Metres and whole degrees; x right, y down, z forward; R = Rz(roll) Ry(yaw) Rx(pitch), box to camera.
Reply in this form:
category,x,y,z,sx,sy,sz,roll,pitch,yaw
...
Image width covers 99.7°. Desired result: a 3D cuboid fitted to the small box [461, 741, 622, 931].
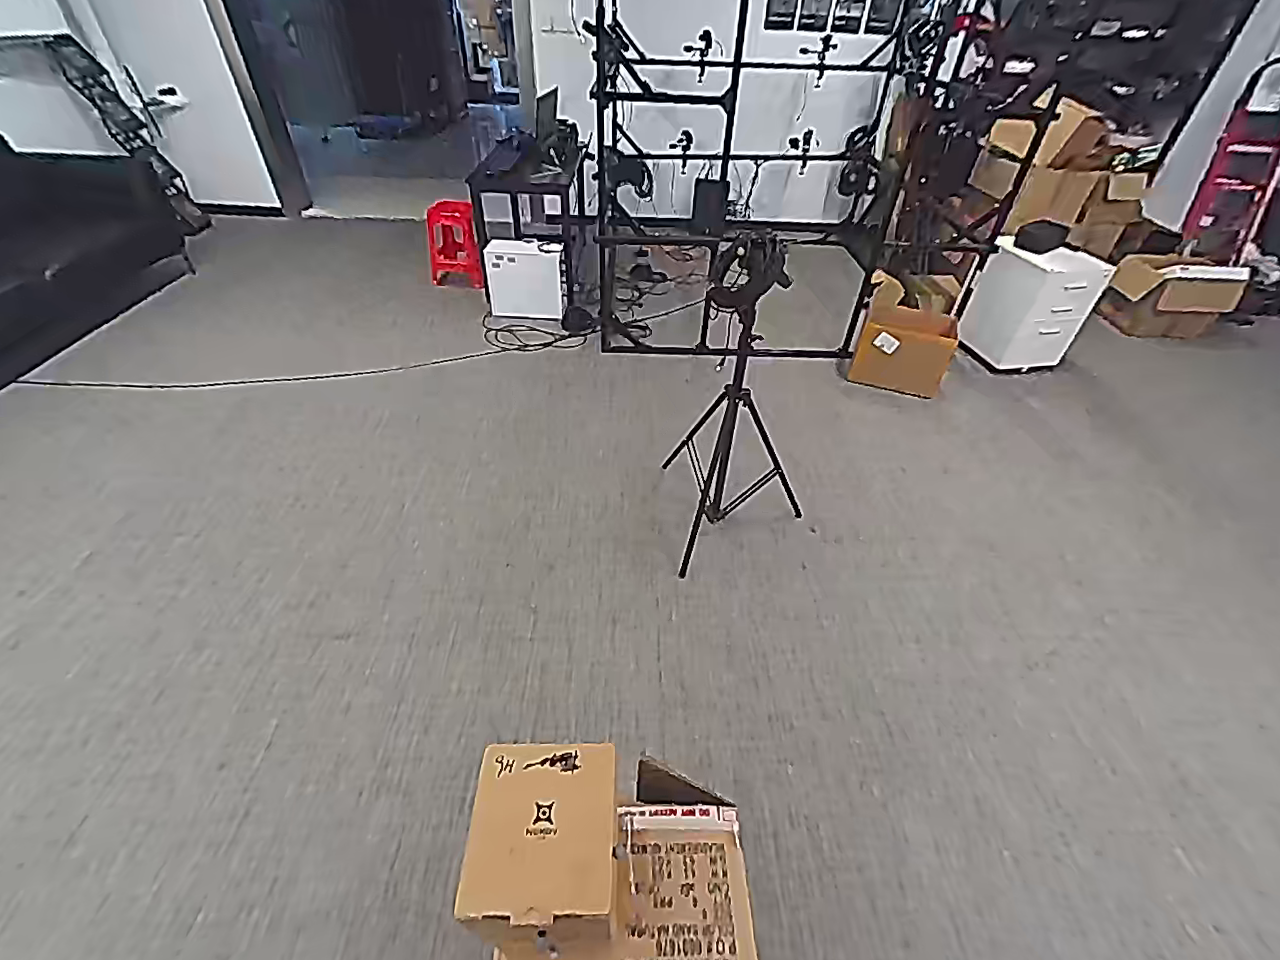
category,x,y,z,sx,sy,sz,roll,pitch,yaw
small box,-0.108,0.449,0.680,0.168,0.176,0.179,-1,44,-1

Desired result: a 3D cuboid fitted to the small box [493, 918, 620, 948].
category,x,y,z,sx,sy,sz,roll,pitch,yaw
small box,-0.114,0.563,0.799,0.168,0.176,0.179,-2,43,-1
